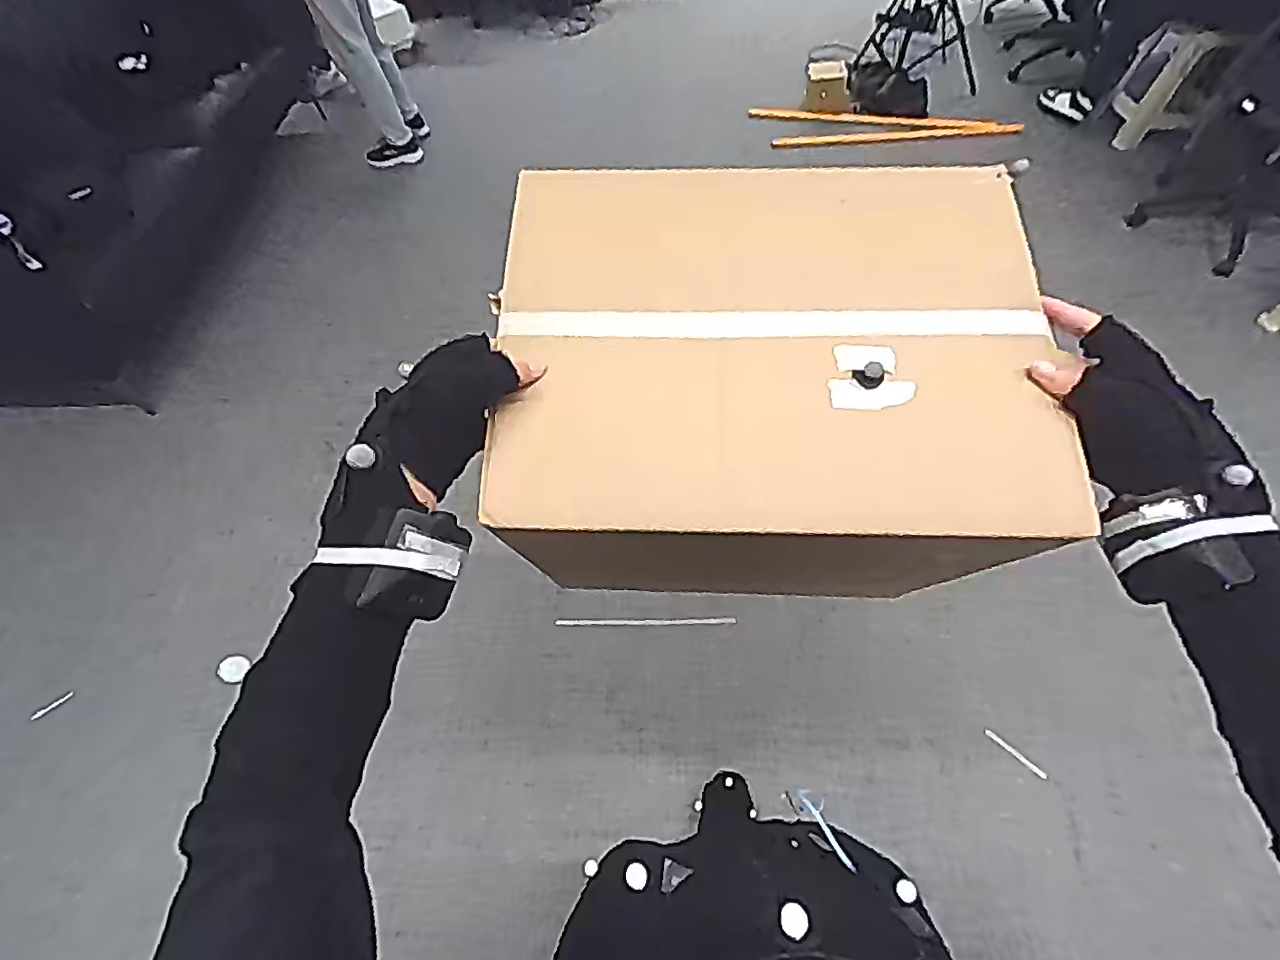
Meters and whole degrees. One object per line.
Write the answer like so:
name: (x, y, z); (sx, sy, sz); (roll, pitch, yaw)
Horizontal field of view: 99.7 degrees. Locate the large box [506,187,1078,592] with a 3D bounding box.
large box: (0.104, -0.061, 0.561); (0.408, 0.320, 0.320); (1, 71, 1)
